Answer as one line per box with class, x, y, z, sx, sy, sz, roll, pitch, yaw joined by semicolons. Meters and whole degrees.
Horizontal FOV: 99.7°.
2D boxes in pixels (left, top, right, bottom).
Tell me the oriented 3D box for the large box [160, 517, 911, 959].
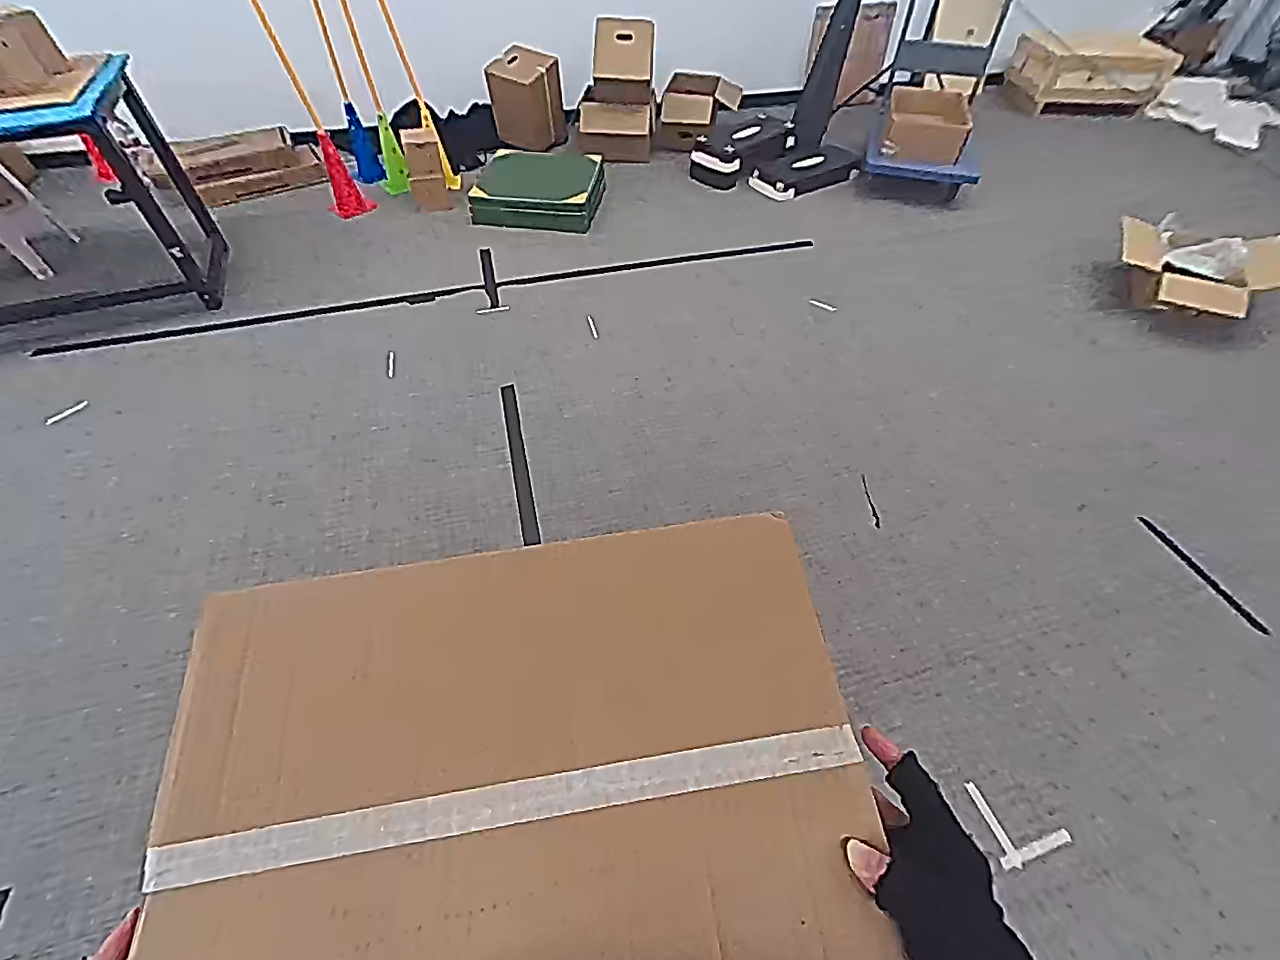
large box;-0.068;0.260;0.456;0.408;0.320;0.320;-8;63;-3
